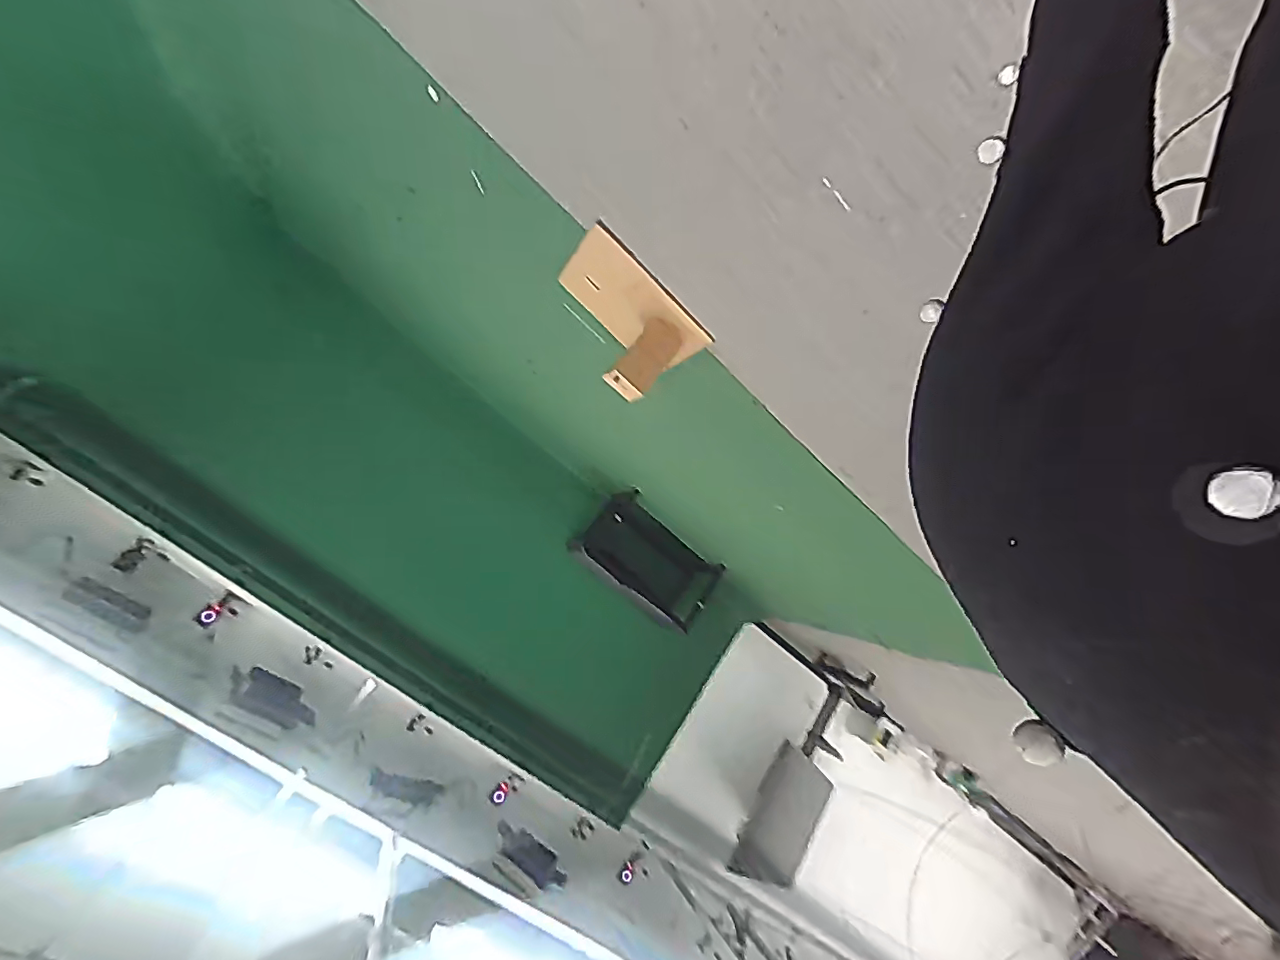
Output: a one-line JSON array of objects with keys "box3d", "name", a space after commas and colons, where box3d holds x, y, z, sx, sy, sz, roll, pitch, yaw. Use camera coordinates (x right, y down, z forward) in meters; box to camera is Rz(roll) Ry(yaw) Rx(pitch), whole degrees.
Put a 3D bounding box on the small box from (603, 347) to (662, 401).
[{"box3d": [-0.035, -0.494, 2.494, 0.179, 0.176, 0.168, 40, 162, -19], "name": "small box"}]
